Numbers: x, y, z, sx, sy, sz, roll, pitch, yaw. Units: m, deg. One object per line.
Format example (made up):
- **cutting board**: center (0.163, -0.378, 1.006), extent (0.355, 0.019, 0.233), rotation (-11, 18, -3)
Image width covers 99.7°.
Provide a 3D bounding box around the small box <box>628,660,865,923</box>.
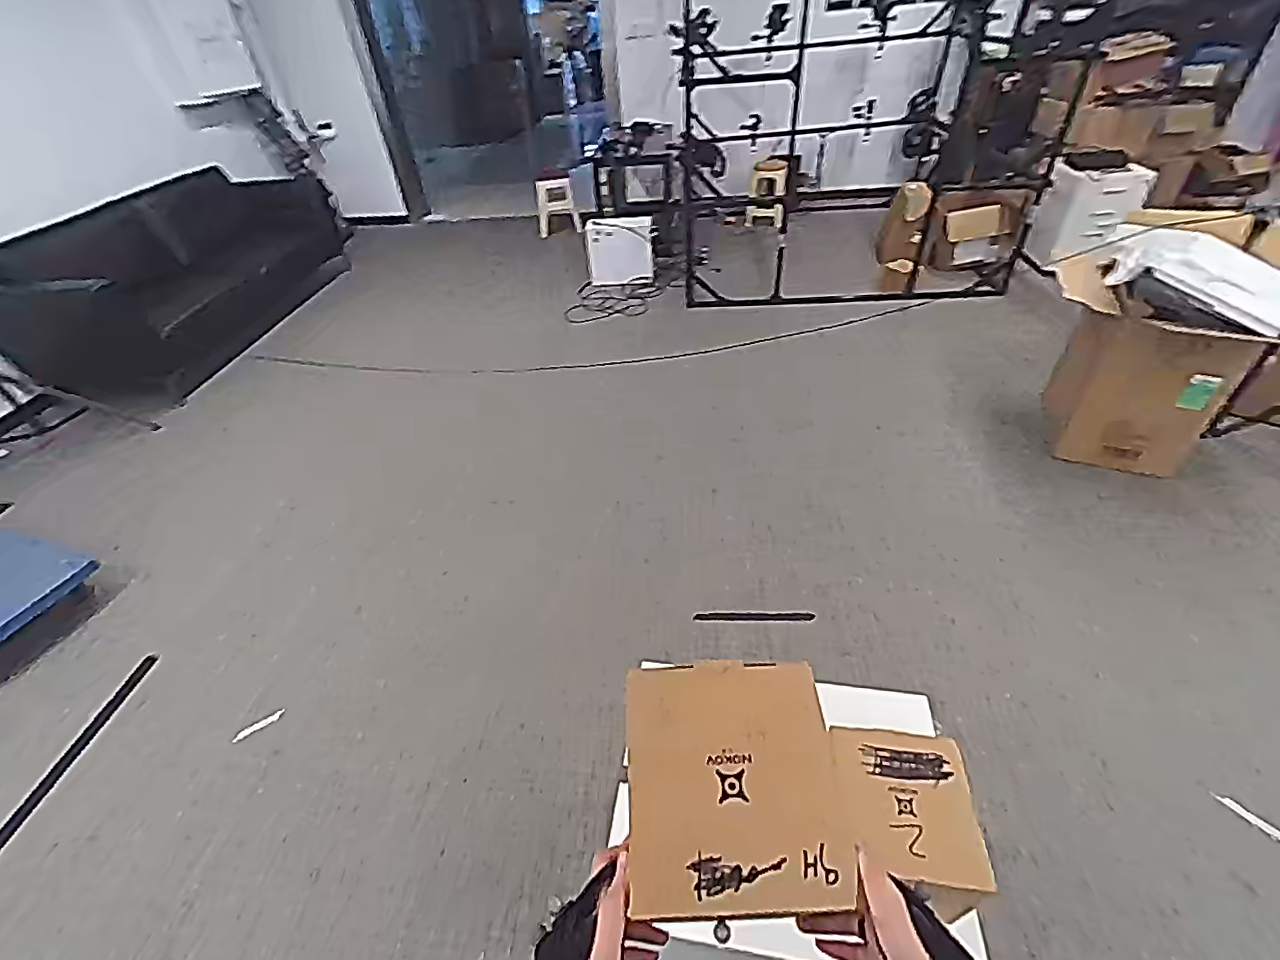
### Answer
- **small box**: center (0.073, 0.281, 0.486), extent (0.168, 0.176, 0.179), rotation (-3, 50, 0)
